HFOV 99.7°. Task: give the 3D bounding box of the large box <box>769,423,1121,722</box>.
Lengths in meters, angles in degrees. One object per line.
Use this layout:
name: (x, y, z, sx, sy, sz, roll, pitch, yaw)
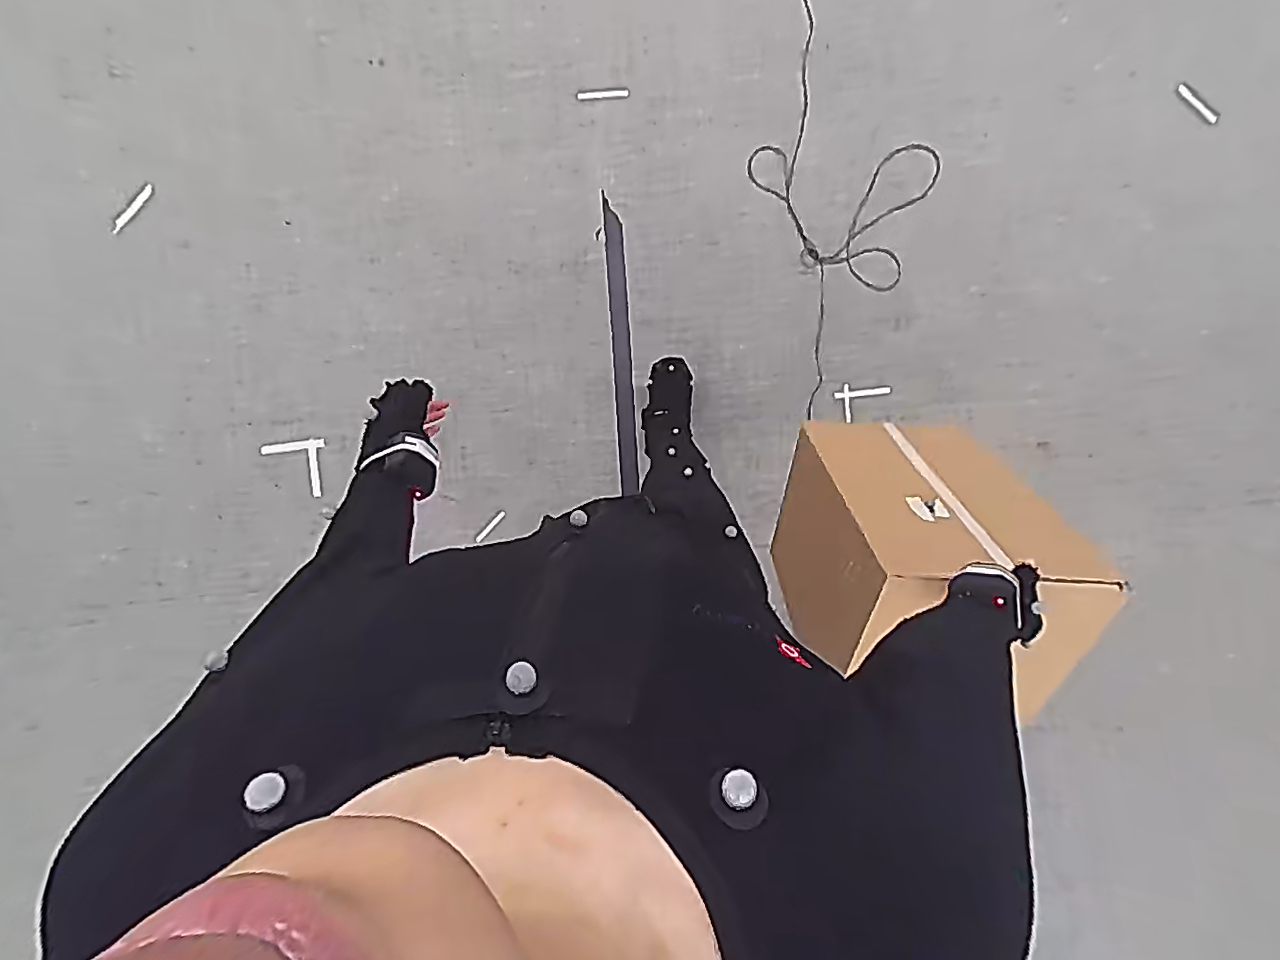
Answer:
large box: (0.443, 0.139, 0.921, 0.320, 0.408, 0.320, 3, 124, -3)
